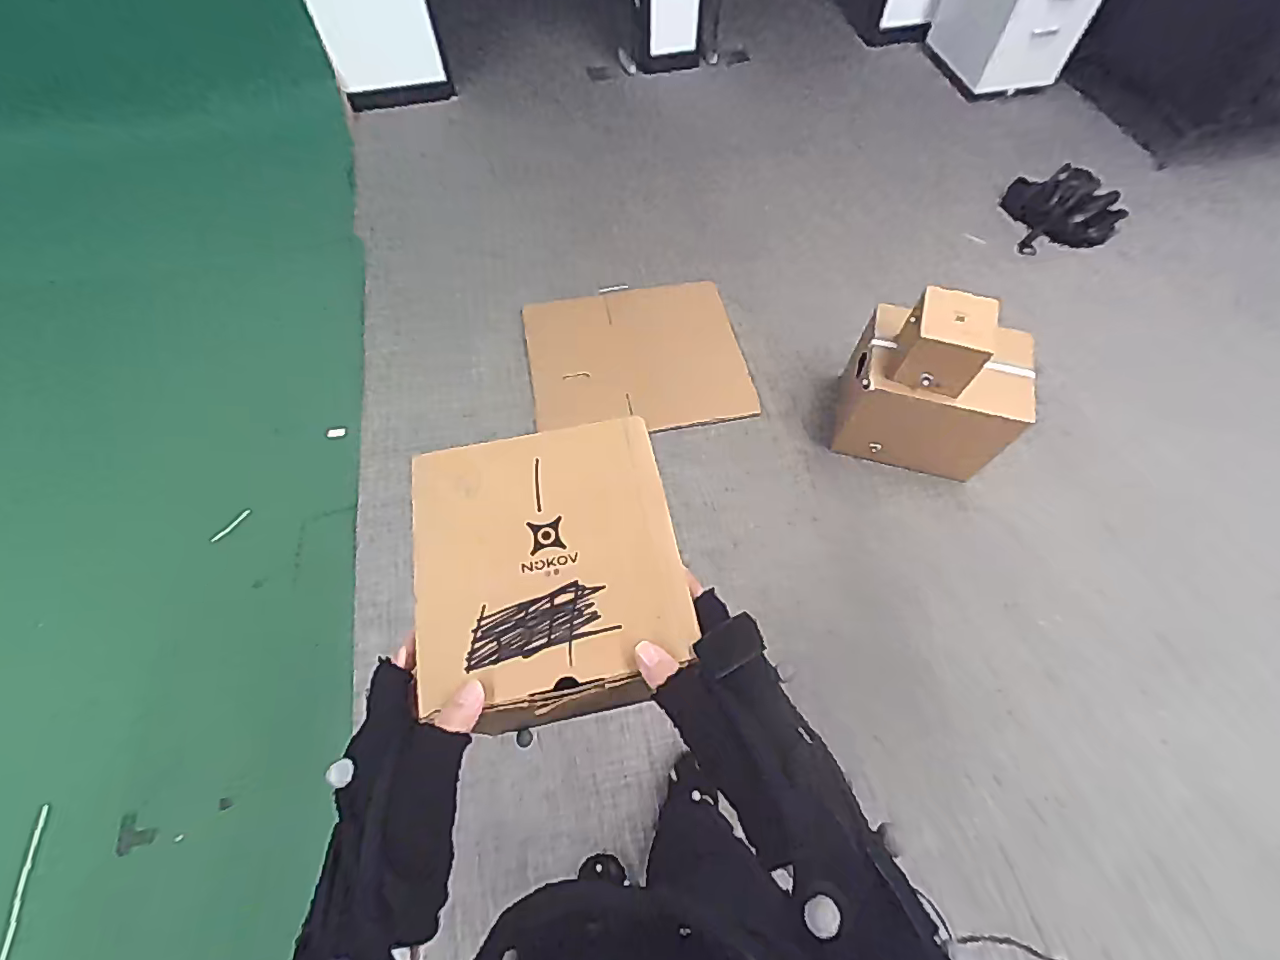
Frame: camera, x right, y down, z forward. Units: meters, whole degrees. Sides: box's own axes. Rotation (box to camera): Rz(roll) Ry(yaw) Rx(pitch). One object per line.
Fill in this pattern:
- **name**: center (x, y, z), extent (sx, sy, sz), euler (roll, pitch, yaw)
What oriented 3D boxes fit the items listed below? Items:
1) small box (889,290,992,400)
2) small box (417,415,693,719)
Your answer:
- **small box**: center (0.729, -0.328, 1.323), extent (0.168, 0.176, 0.179), euler (16, 64, 10)
- **small box**: center (-0.060, 0.079, 0.422), extent (0.168, 0.176, 0.179), euler (-11, 61, -5)
